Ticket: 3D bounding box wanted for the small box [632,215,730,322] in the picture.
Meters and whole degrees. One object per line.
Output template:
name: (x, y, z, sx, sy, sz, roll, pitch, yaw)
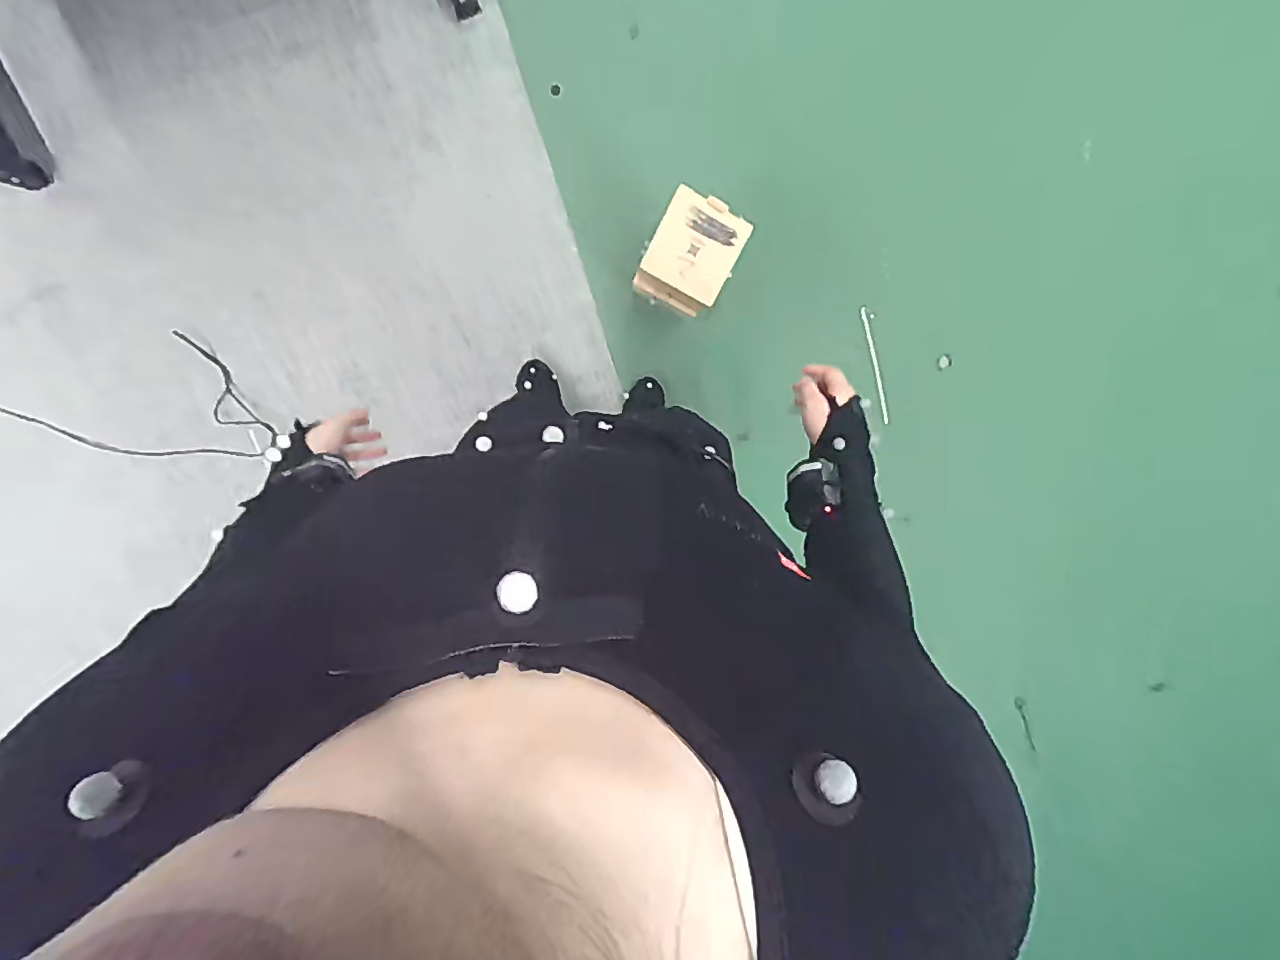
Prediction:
small box: (0.093, -0.492, 1.291, 0.168, 0.176, 0.179, 27, 101, -6)
